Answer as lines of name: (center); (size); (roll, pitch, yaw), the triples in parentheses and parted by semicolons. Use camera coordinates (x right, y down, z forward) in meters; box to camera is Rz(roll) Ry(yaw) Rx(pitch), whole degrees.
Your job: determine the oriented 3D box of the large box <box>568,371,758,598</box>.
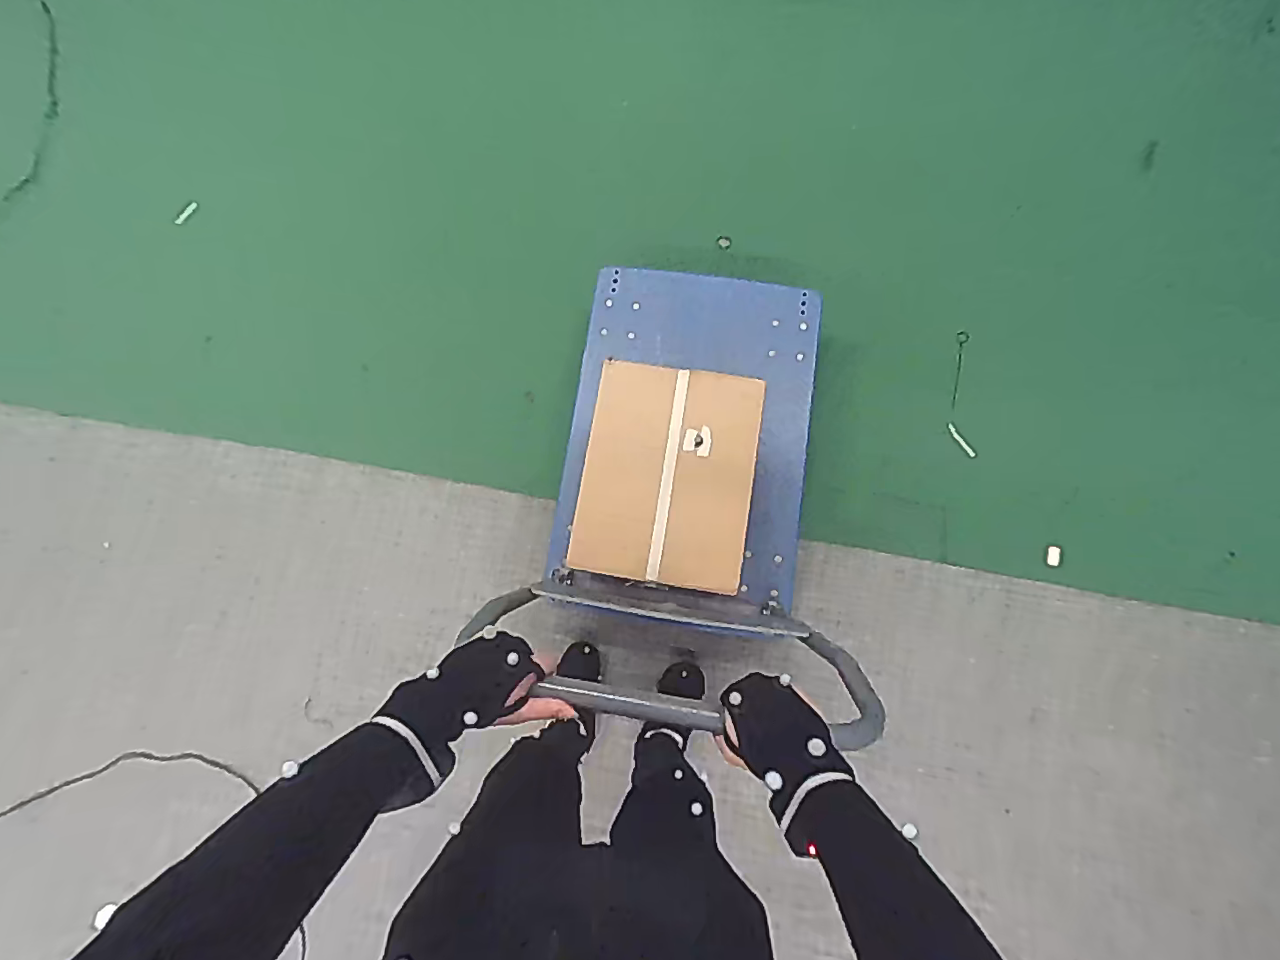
large box: (0.054, 0.030, 1.149); (0.320, 0.320, 0.408); (9, 79, 3)
